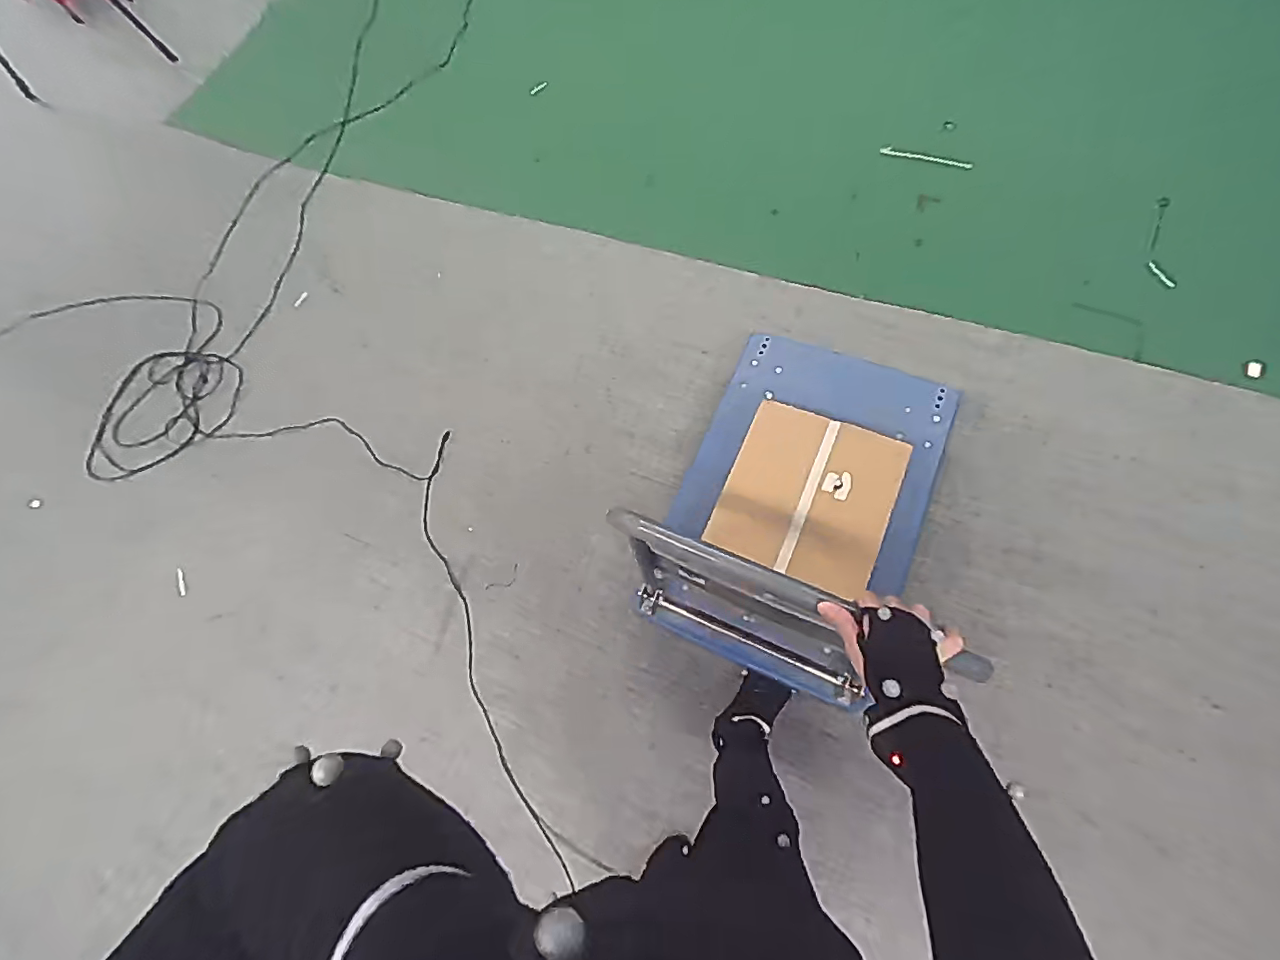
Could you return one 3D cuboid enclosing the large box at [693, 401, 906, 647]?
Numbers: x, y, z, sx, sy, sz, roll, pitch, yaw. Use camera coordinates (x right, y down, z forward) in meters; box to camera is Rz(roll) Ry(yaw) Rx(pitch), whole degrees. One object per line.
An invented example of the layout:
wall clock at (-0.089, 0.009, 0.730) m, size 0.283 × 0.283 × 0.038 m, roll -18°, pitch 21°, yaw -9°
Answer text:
large box at (0.335, 0.108, 1.192) m, size 0.320 × 0.320 × 0.408 m, roll 21°, pitch 72°, yaw 15°
